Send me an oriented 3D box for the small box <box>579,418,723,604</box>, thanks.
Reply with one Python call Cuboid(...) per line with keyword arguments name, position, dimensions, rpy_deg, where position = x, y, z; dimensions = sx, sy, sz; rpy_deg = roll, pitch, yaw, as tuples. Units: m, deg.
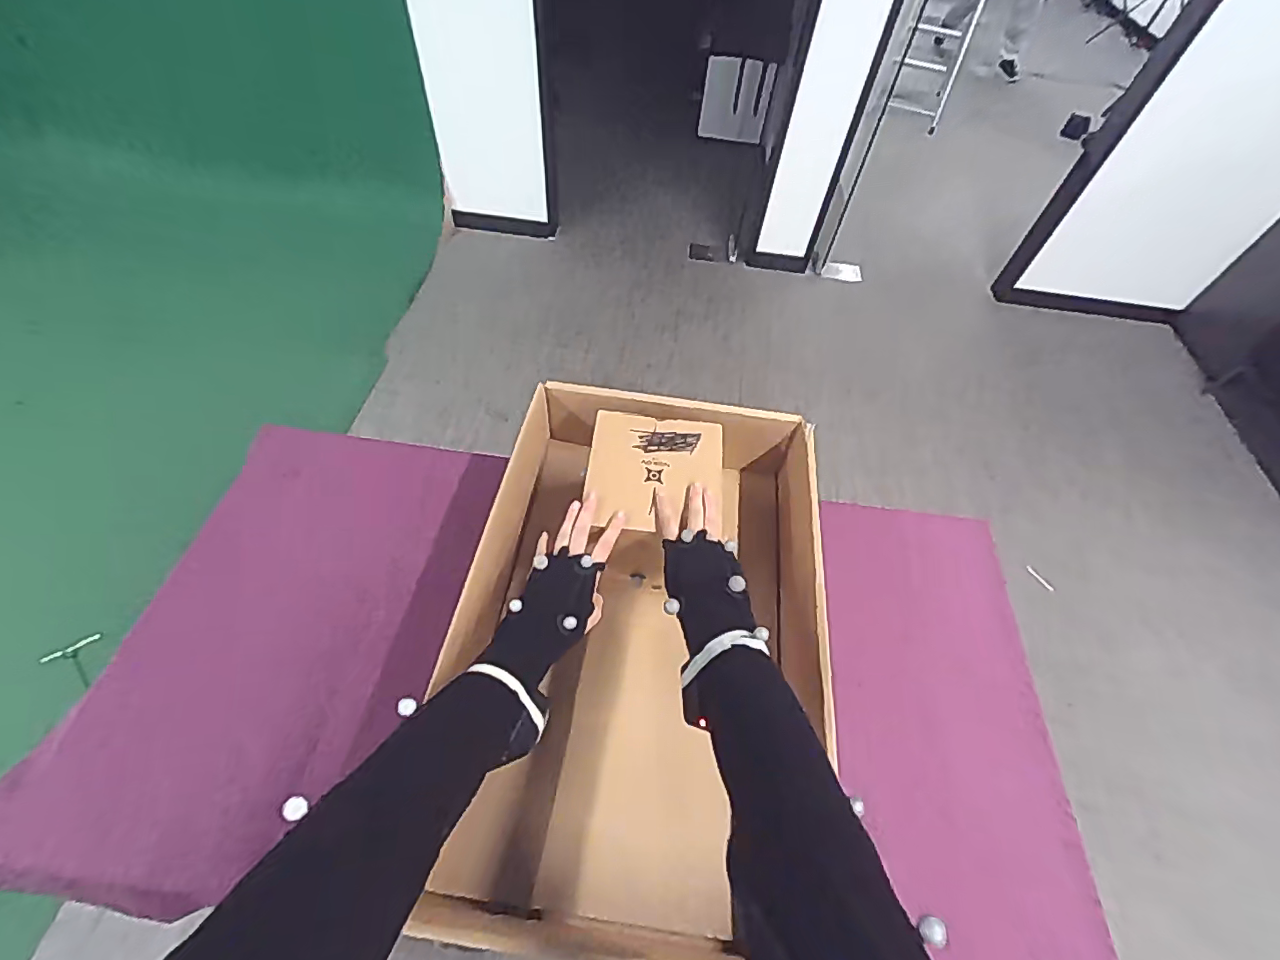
Cuboid(name="small box", position=(0.013, 0.044, 0.722), dimensions=(0.168, 0.176, 0.179), rpy_deg=(6, 55, 0))
